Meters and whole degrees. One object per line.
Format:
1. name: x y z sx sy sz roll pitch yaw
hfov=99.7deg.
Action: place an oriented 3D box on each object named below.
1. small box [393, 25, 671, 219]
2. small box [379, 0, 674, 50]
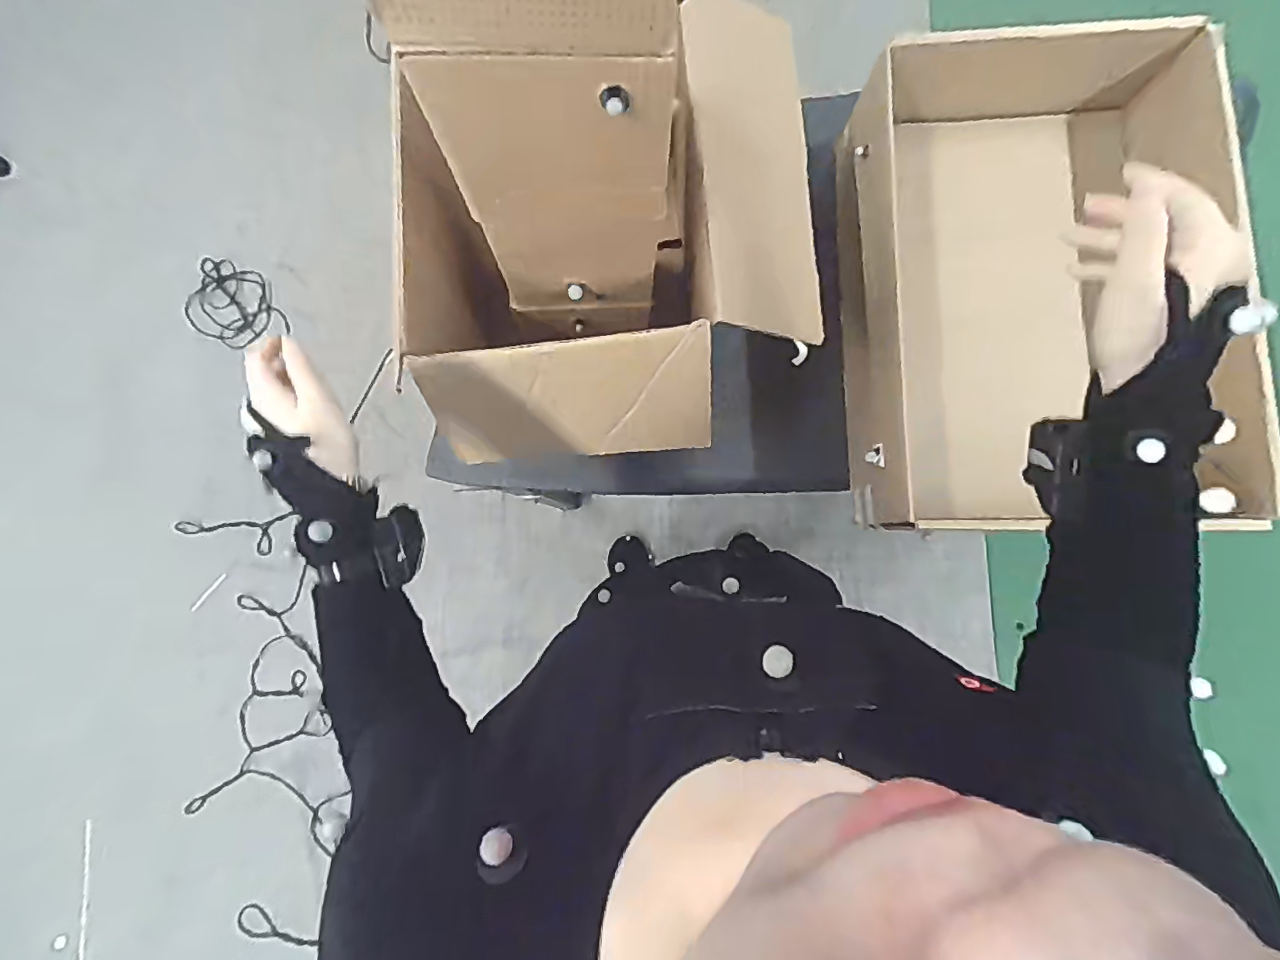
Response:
1. small box: -0.070 -0.329 0.426 0.179 0.176 0.168 -1 82 -2
2. small box: -0.065 -0.355 0.264 0.179 0.176 0.168 0 82 -2
